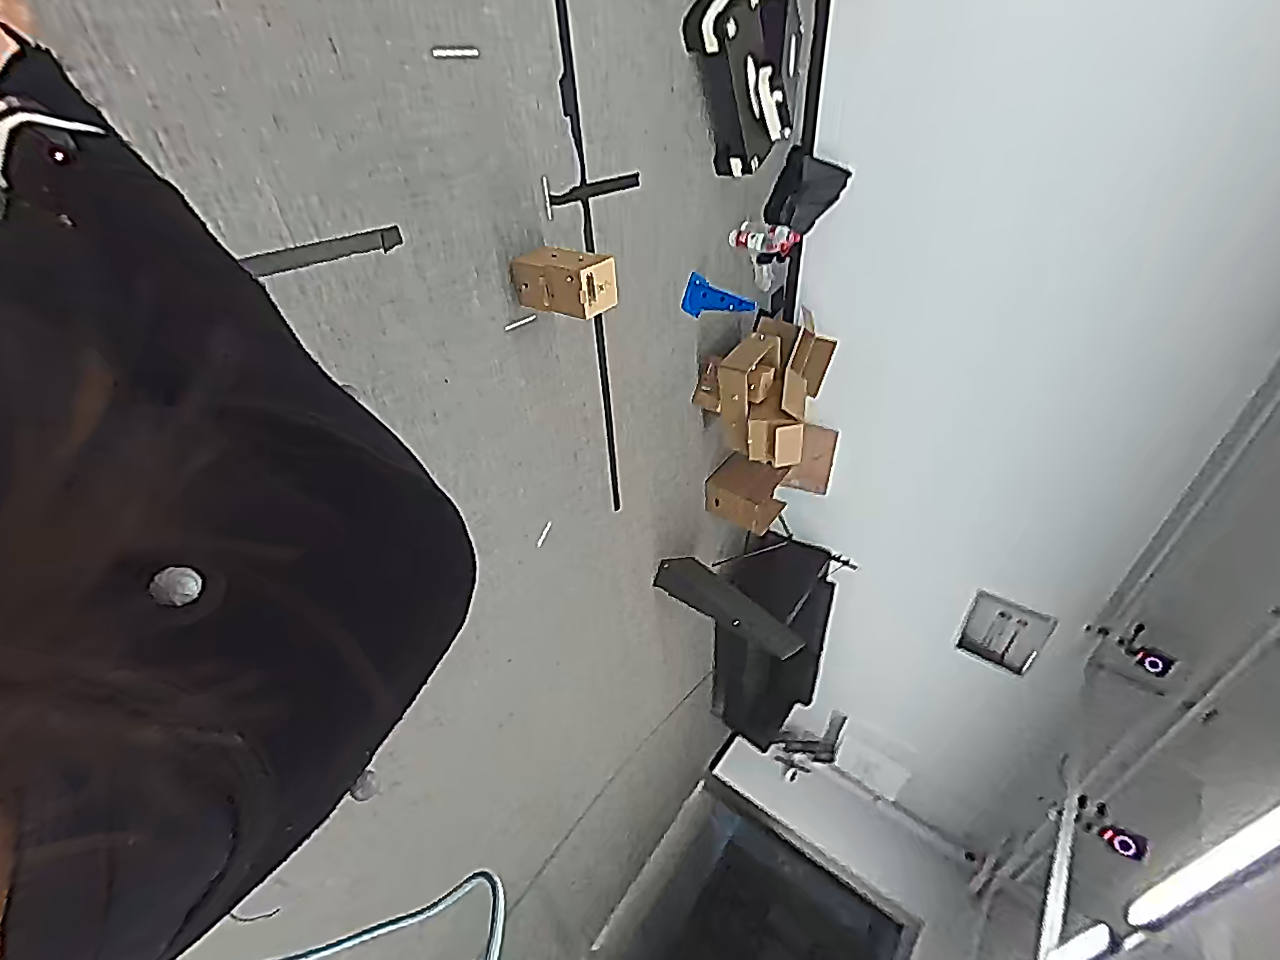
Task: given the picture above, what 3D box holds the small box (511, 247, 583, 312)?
[{"bbox_3d":[-0.335,-0.732,1.959,0.179,0.176,0.168,-41,140,-34],"label":"small box"}]
